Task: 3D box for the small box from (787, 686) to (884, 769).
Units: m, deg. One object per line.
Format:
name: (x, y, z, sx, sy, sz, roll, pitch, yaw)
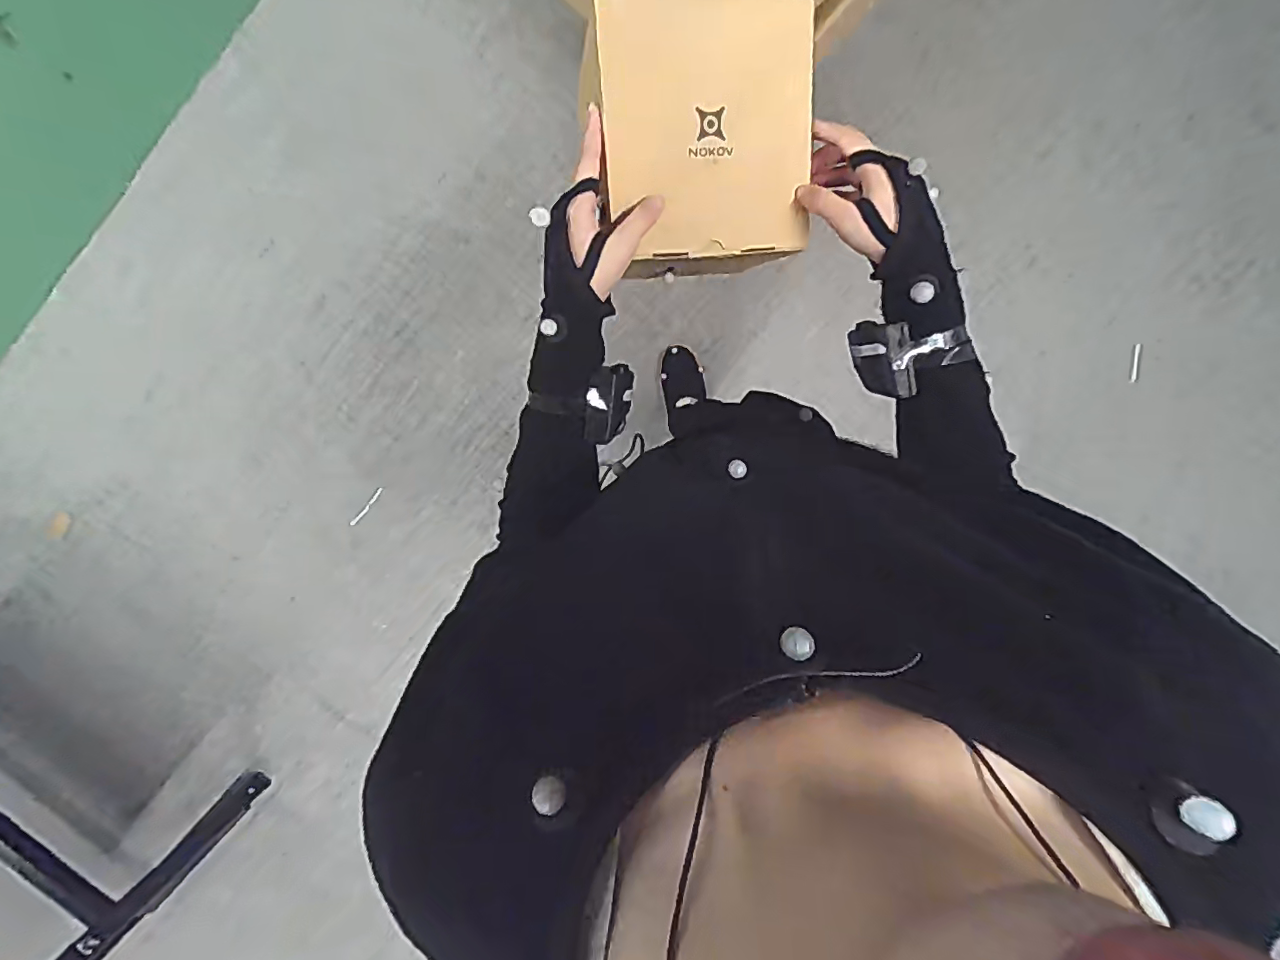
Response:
small box: (0.528, 0.704, 1.475, 0.168, 0.176, 0.179, 41, 95, -3)
